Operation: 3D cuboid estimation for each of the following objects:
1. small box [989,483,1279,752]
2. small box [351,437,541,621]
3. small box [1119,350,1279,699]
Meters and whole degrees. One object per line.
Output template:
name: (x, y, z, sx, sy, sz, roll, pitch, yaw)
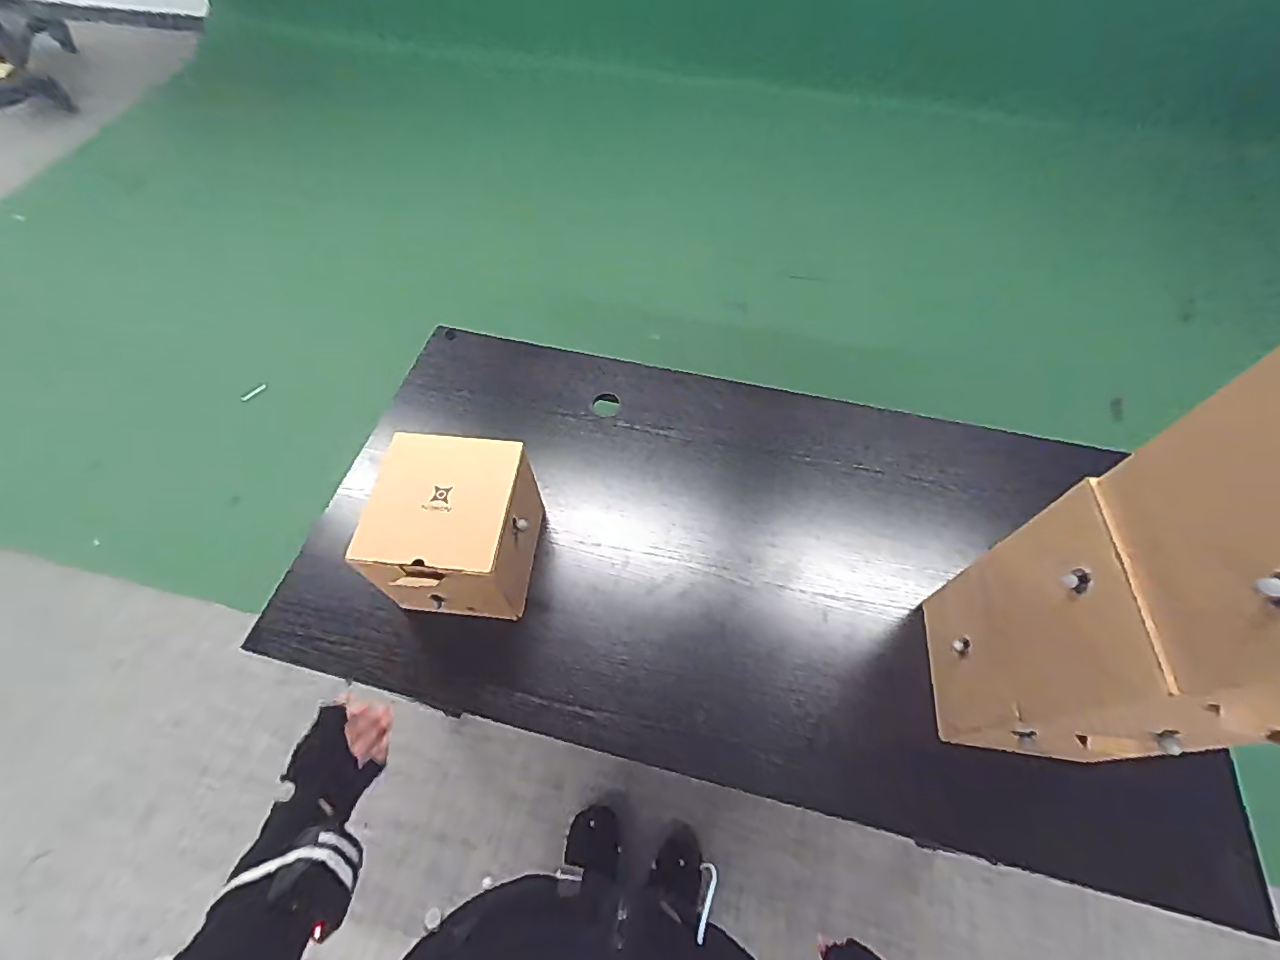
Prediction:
small box: (0.441, 0.124, 0.470, 0.168, 0.176, 0.179, 5, 59, 4)
small box: (-0.231, 0.068, 0.701, 0.168, 0.176, 0.179, 5, 60, 3)
small box: (0.446, 0.033, 0.315, 0.168, 0.176, 0.179, 5, 58, 3)
